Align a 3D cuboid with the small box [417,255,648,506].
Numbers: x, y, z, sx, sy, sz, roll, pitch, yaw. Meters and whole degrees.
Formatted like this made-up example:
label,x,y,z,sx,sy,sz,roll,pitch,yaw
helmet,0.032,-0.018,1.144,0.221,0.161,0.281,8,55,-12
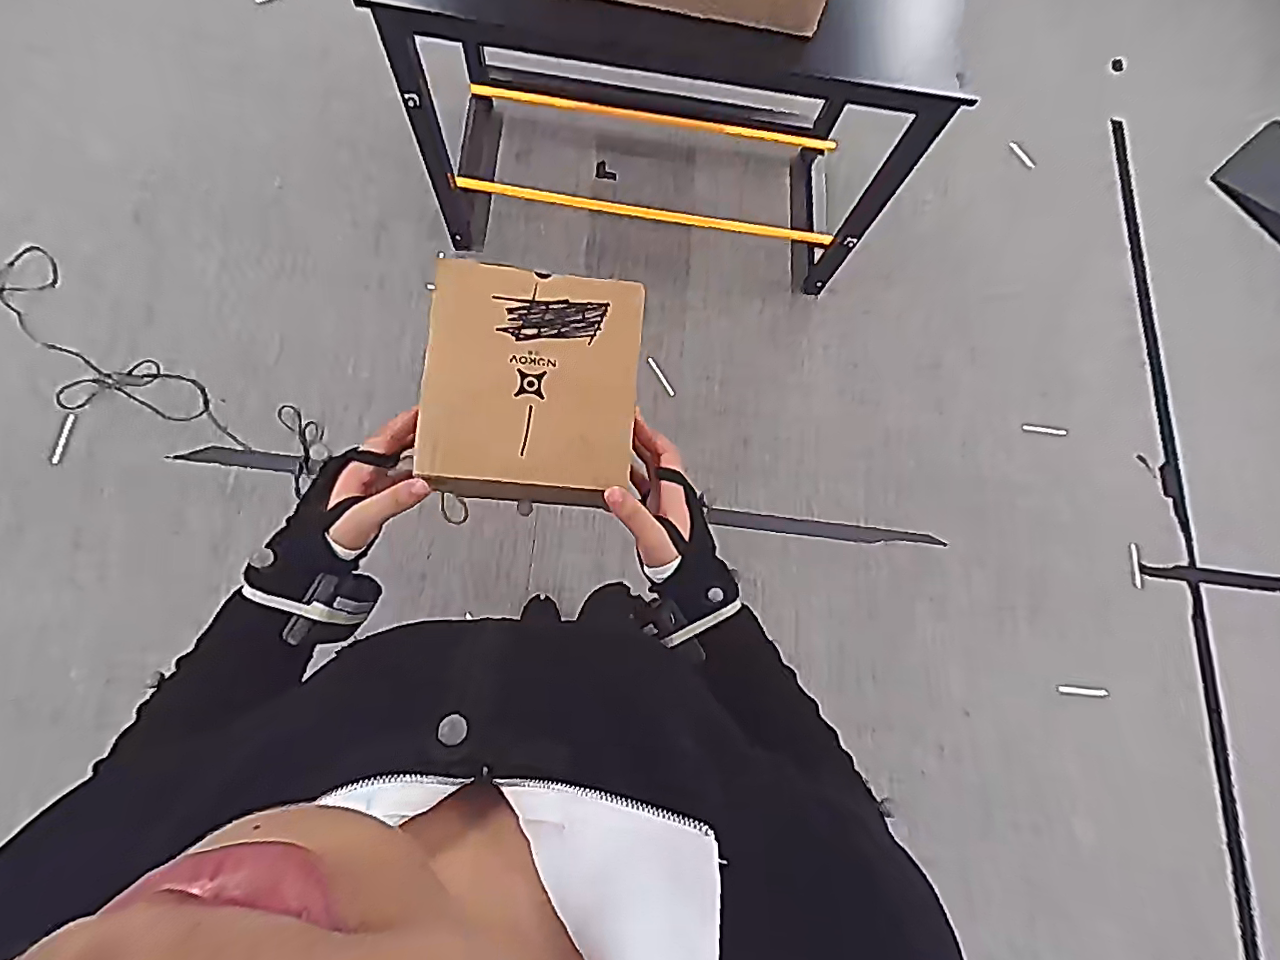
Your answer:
label,x,y,z,sx,sy,sz,roll,pitch,yaw
small box,-0.092,-0.075,0.505,0.168,0.176,0.179,5,82,-7
